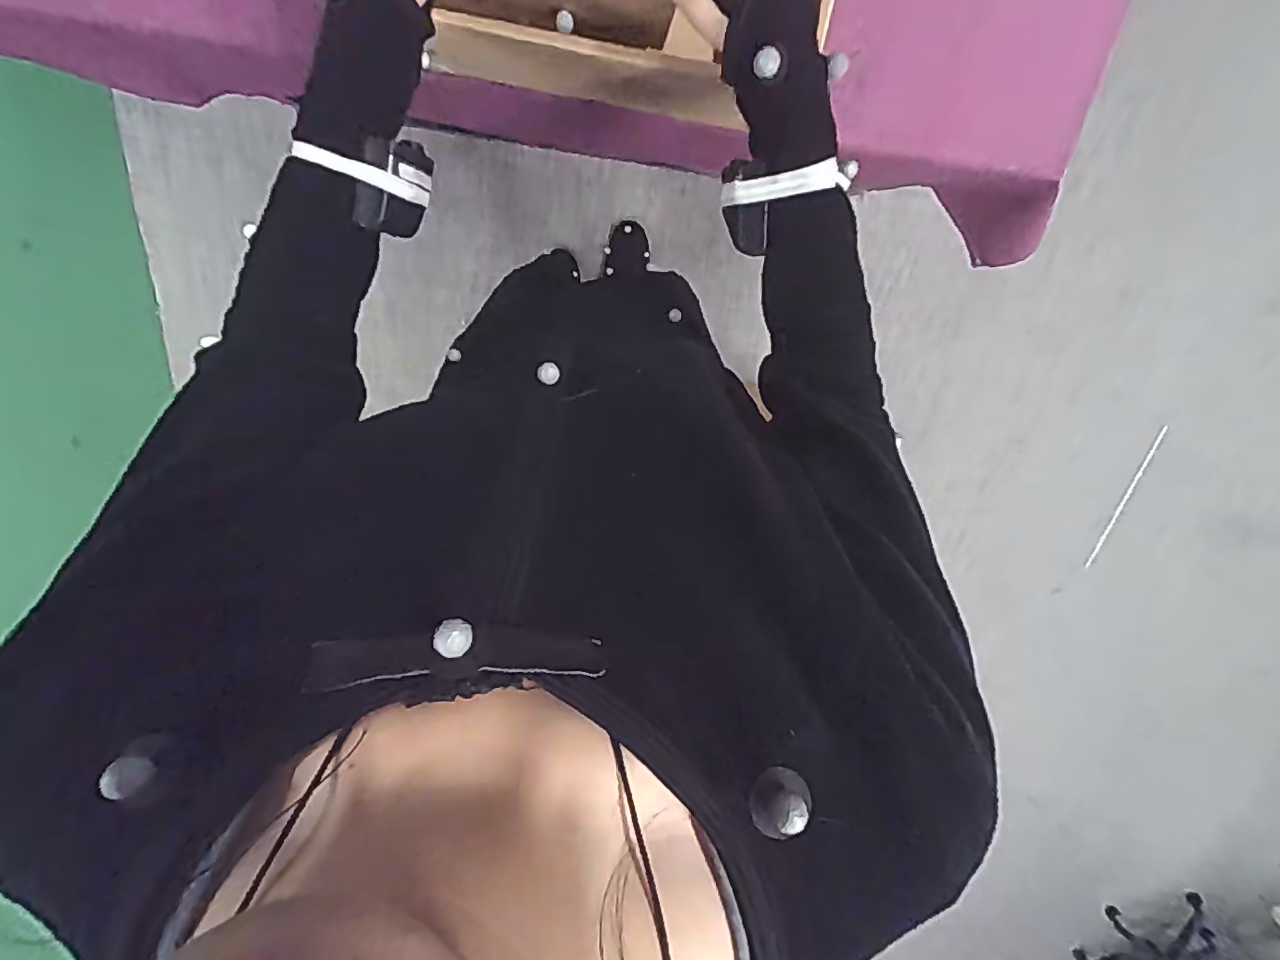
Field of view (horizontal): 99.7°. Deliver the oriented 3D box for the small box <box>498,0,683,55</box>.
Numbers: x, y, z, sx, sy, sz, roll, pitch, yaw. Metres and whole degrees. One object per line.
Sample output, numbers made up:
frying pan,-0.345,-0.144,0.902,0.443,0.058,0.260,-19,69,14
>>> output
small box,-0.036,-0.456,0.397,0.168,0.176,0.179,9,116,-7
